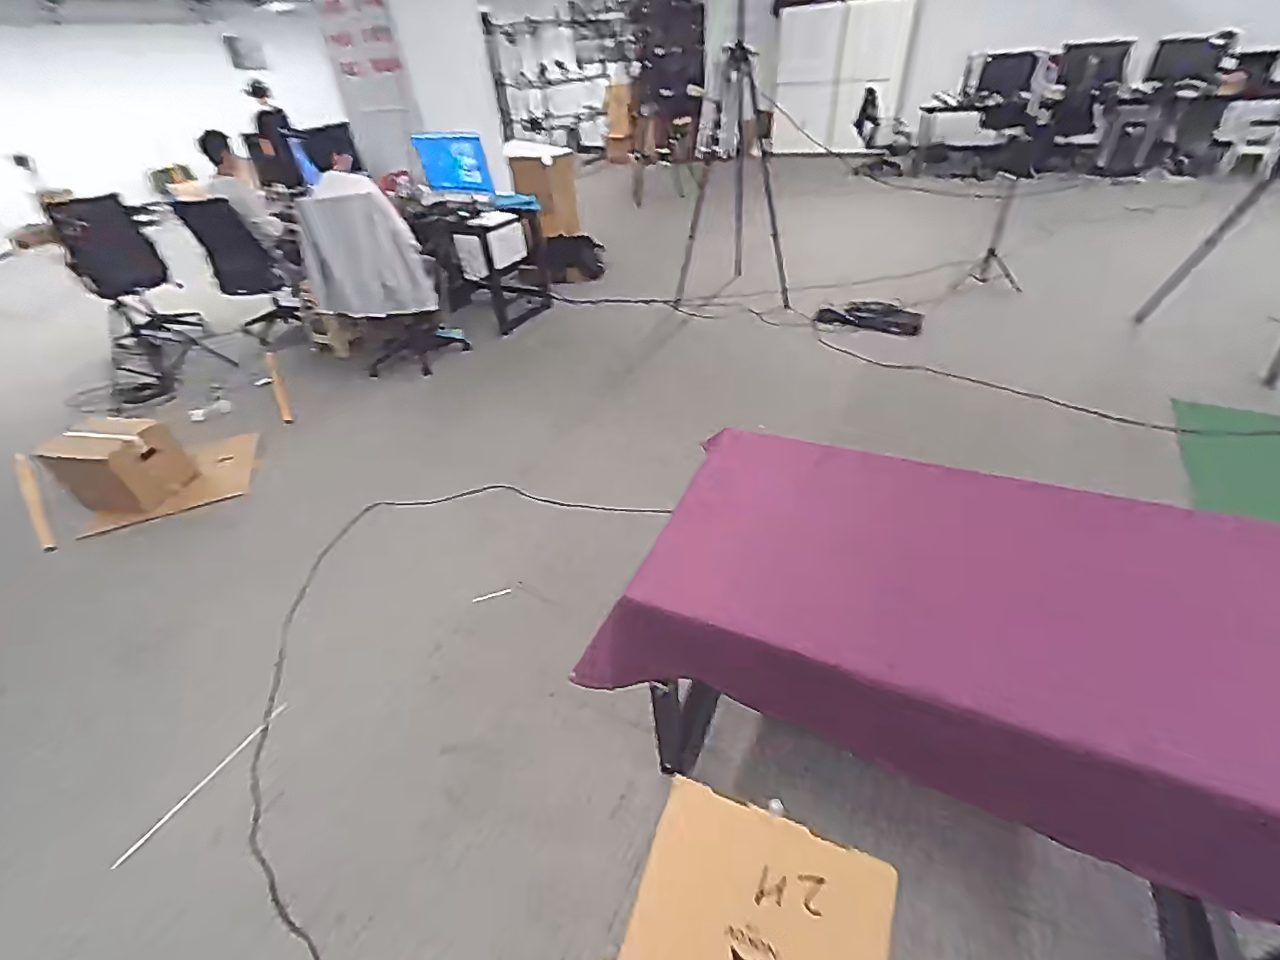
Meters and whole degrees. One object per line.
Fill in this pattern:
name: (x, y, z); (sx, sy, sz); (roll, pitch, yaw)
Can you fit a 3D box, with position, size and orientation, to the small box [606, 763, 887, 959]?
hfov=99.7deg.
small box: (0.081, 0.357, 0.431); (0.168, 0.176, 0.179); (14, 61, 19)
